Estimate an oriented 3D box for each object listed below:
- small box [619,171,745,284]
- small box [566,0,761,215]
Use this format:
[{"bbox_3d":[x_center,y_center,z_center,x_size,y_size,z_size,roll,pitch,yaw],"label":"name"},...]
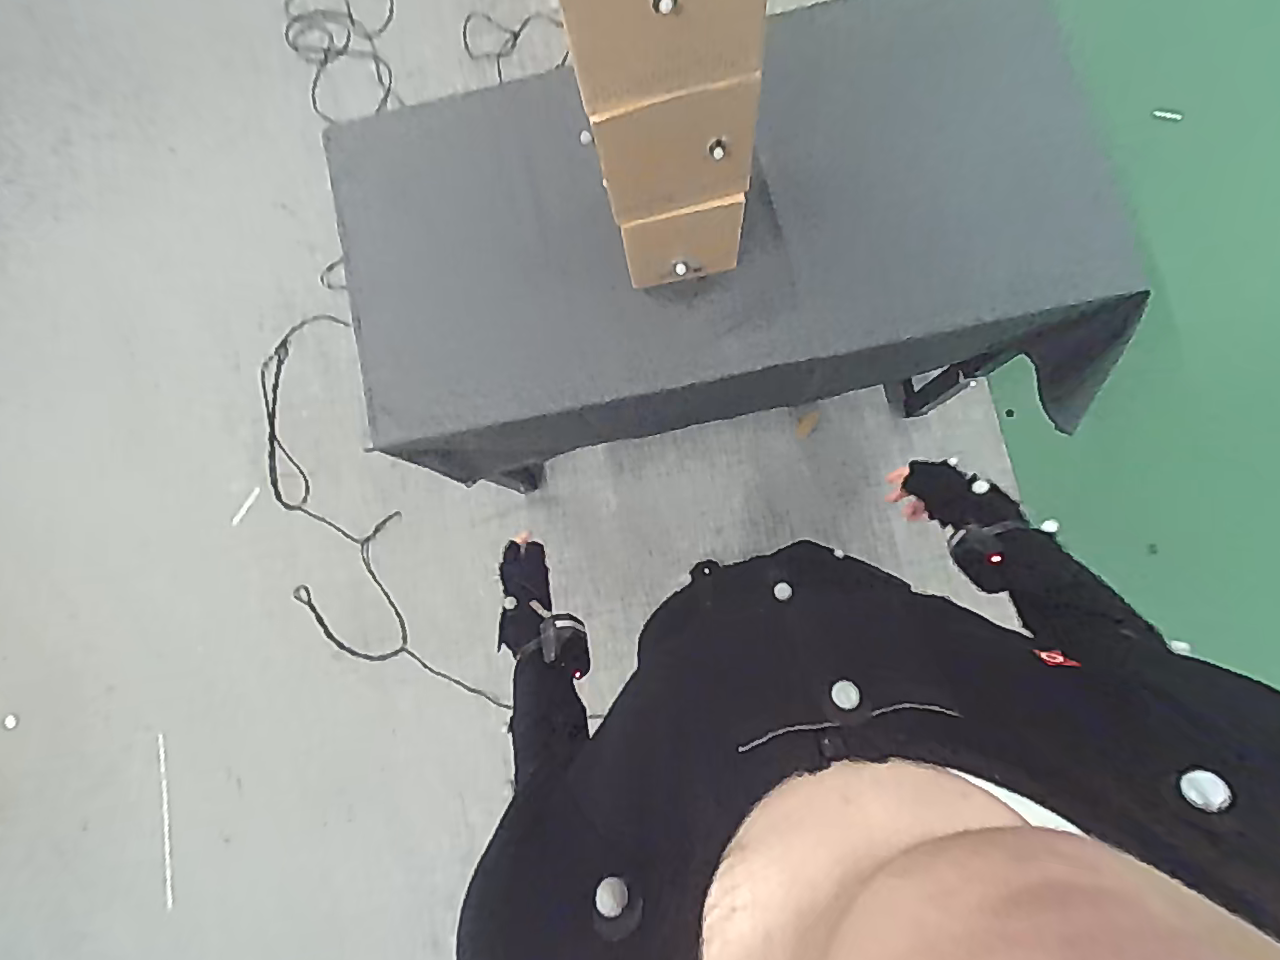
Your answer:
[{"bbox_3d":[0.049,-0.415,0.781,0.168,0.176,0.179,-10,81,5],"label":"small box"},{"bbox_3d":[0.027,-0.443,0.622,0.179,0.176,0.168,-13,79,4],"label":"small box"}]
